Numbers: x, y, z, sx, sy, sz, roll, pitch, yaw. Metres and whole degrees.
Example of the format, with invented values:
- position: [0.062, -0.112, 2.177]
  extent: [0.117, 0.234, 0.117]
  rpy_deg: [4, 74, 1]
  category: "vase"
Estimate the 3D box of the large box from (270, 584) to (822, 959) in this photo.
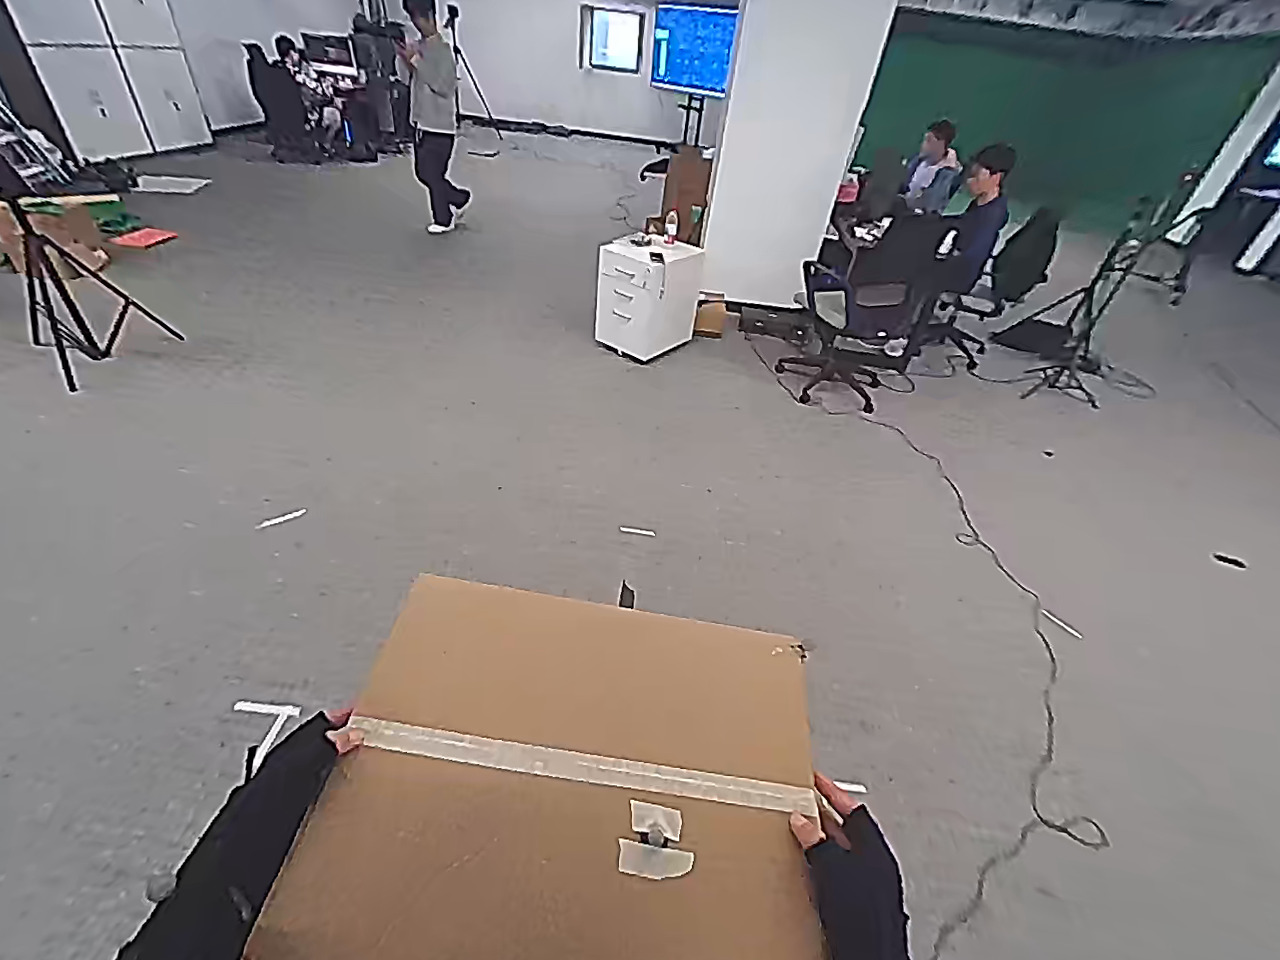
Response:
- position: [-0.069, 0.348, 0.587]
  extent: [0.408, 0.320, 0.320]
  rpy_deg: [9, 48, -2]
  category: "large box"
